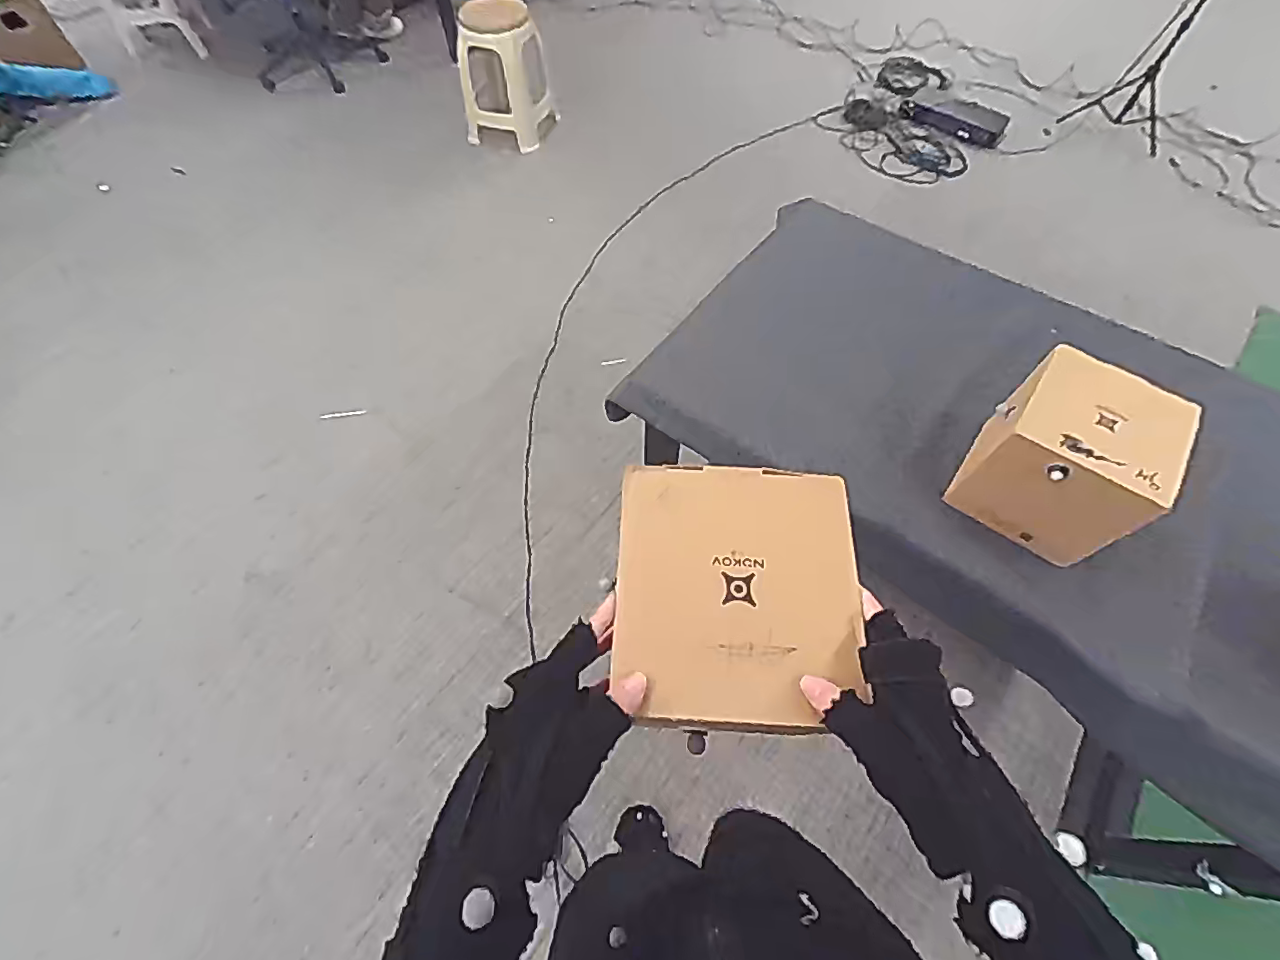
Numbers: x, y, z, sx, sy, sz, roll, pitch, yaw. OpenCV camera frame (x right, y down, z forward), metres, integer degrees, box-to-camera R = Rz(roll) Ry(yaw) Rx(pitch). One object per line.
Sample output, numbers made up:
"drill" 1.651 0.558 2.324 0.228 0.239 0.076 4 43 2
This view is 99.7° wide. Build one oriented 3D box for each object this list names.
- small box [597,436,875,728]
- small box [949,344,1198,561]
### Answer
"small box" 0.062 0.088 0.422 0.168 0.176 0.179 5 64 2
"small box" 0.533 -0.031 0.687 0.168 0.176 0.179 34 64 18
